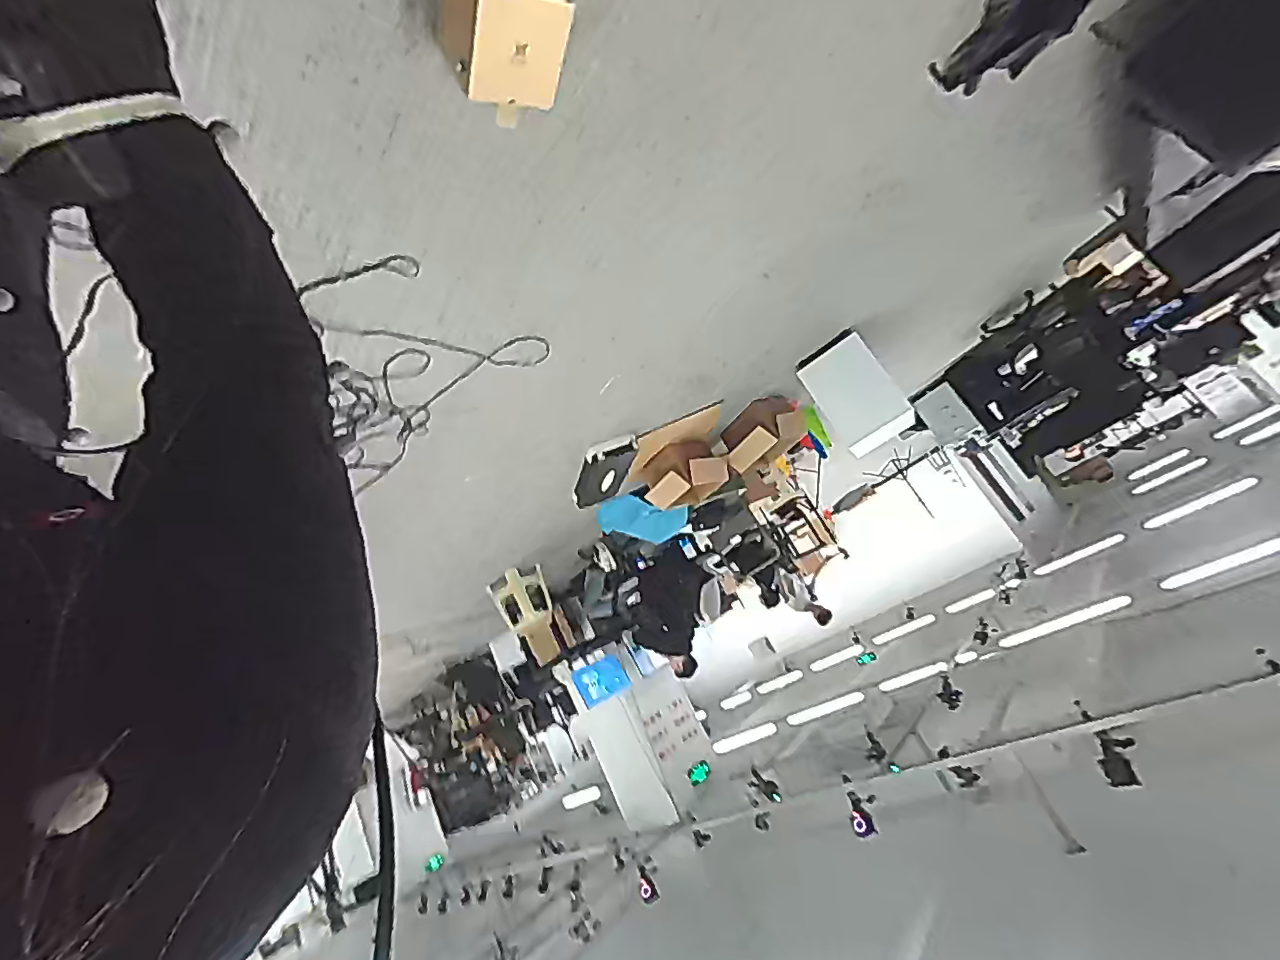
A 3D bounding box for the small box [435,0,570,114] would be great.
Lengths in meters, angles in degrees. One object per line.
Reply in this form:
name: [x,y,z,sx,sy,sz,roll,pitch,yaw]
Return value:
small box: [-0.248,-0.787,0.947,0.168,0.176,0.179,-18,160,-31]
